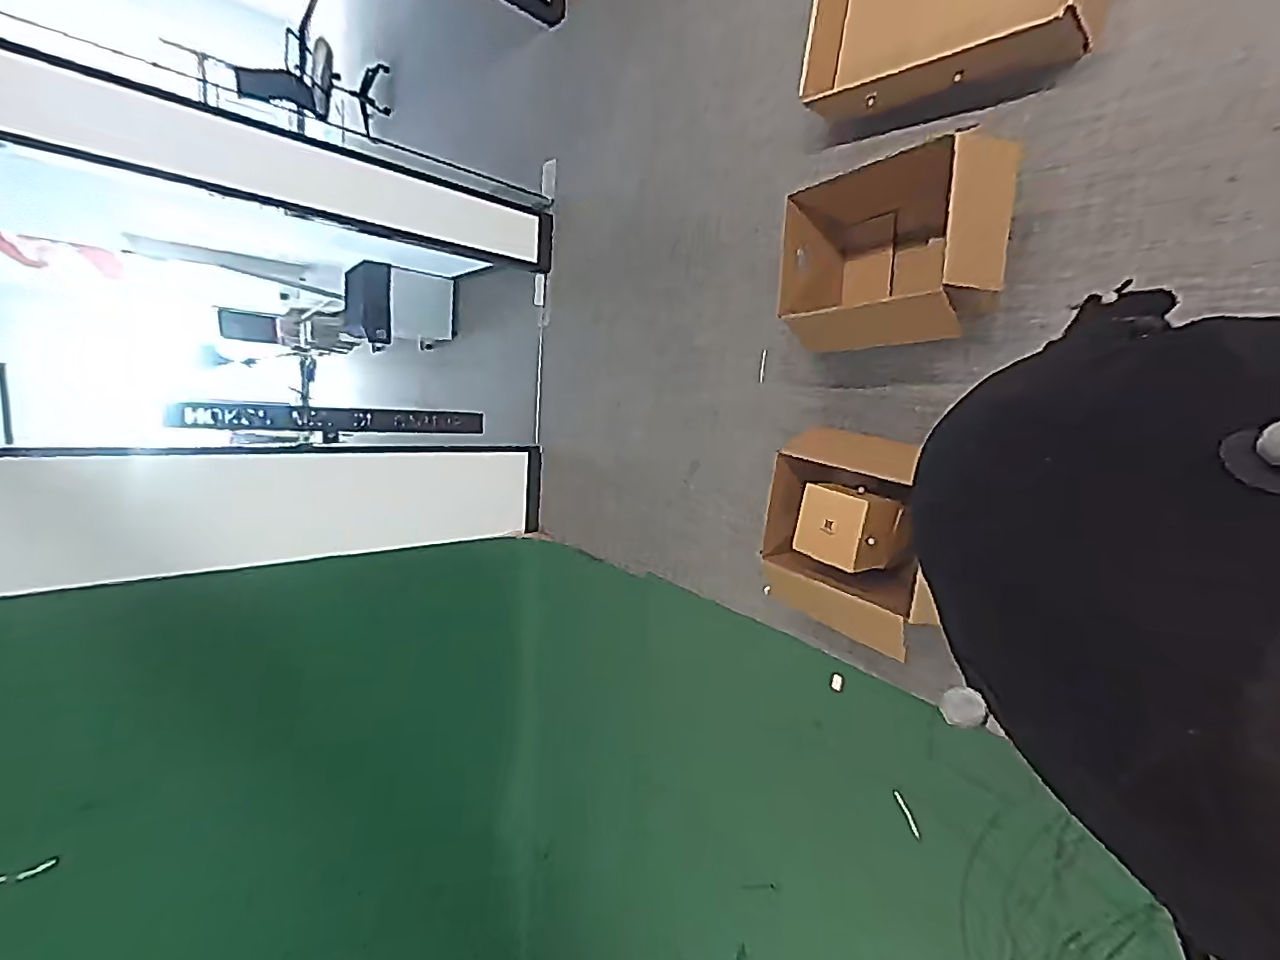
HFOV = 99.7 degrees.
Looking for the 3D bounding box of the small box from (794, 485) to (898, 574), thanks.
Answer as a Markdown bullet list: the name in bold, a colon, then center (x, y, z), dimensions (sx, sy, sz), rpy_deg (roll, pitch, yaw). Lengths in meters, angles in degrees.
- **small box**: center (0.510, 0.114, 1.332), dimensions (0.168, 0.176, 0.179), rpy_deg (21, 106, 47)
